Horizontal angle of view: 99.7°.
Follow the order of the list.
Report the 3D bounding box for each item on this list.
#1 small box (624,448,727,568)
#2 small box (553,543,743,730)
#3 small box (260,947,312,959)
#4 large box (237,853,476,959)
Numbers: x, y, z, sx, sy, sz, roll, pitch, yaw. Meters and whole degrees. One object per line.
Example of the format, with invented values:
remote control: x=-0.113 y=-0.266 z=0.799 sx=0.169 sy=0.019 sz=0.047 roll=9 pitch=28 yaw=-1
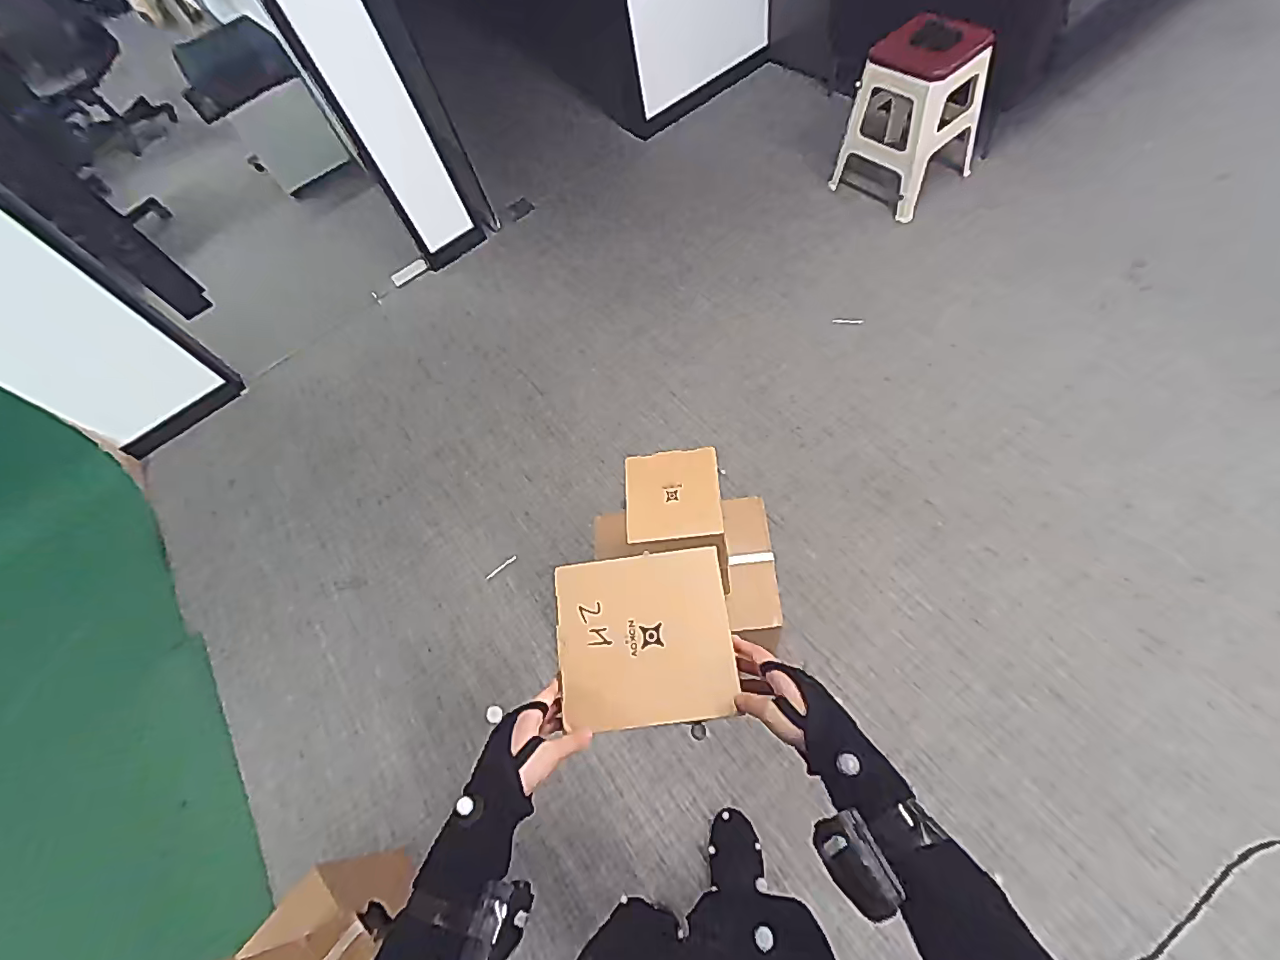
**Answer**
small box: x=0.068 y=0.065 z=1.003 sx=0.168 sy=0.176 sz=0.179 roll=-7 pitch=58 yaw=8
small box: x=0.009 y=0.181 z=0.610 sx=0.179 sy=0.176 sz=0.168 roll=-9 pitch=65 yaw=2
small box: x=-0.619 y=0.901 z=0.858 sx=0.179 sy=0.176 sz=0.168 roll=33 pitch=71 yaw=26
large box: x=-0.613 y=1.044 z=1.060 sx=0.320 sy=0.320 sz=0.408 roll=32 pitch=72 yaw=27
